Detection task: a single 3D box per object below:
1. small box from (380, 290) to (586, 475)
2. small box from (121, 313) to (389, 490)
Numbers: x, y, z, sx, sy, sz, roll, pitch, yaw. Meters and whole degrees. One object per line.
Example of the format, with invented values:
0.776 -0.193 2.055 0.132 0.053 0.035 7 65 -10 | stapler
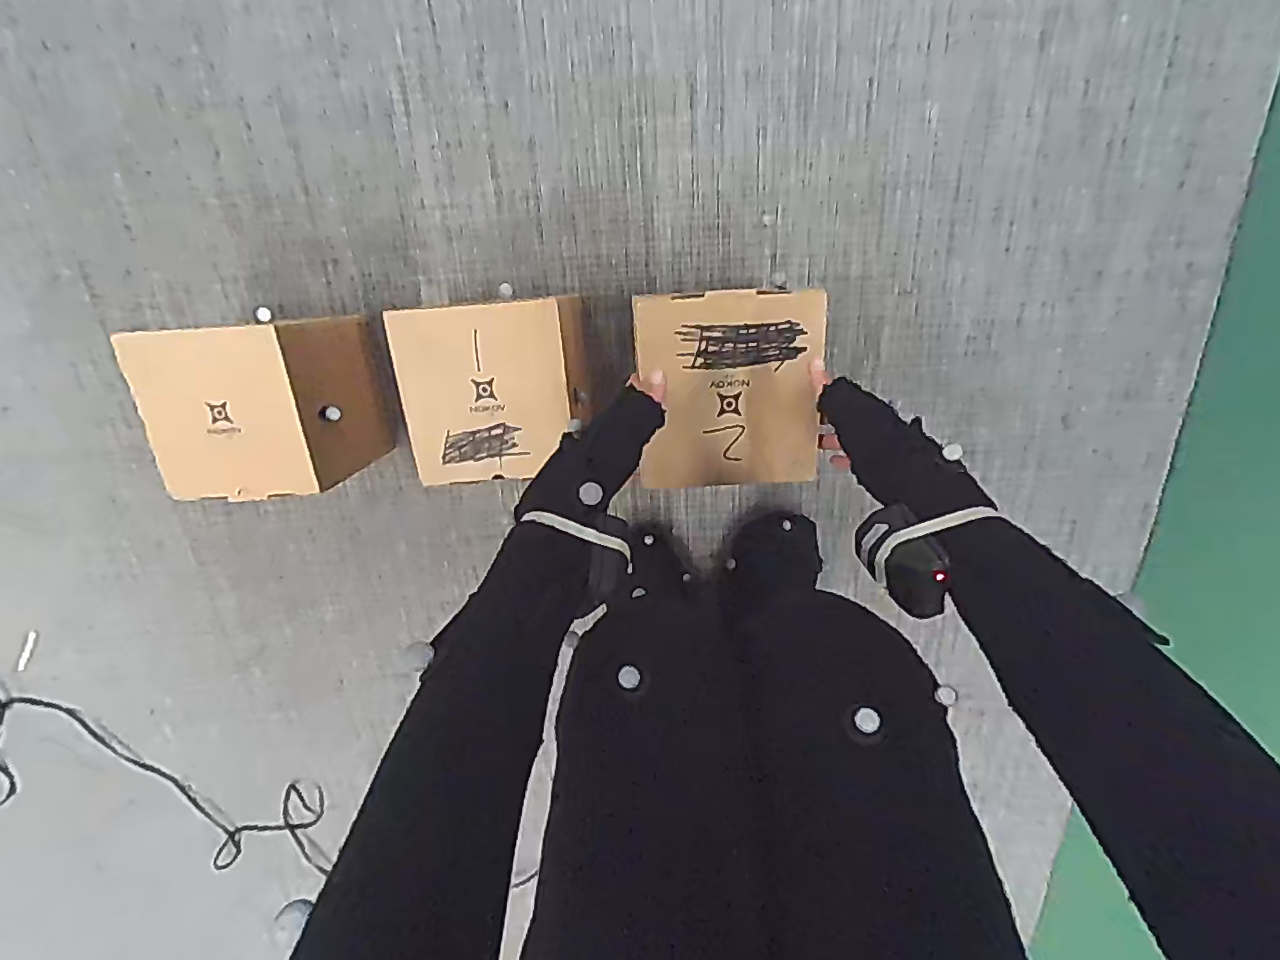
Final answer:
-0.158 -0.118 0.613 0.168 0.176 0.179 -3 110 3 | small box
-0.423 -0.101 0.631 0.168 0.176 0.179 -3 110 3 | small box
